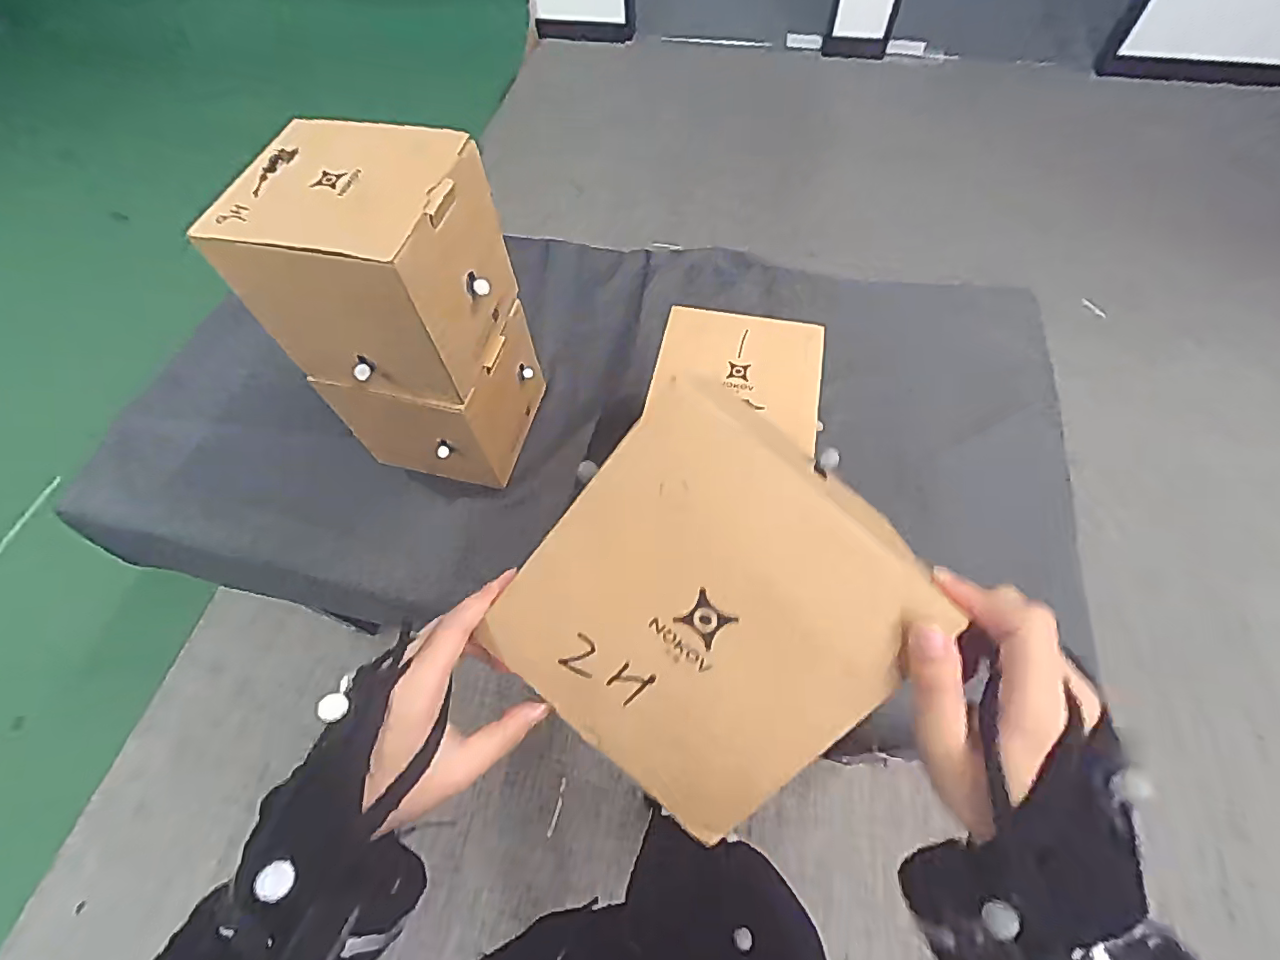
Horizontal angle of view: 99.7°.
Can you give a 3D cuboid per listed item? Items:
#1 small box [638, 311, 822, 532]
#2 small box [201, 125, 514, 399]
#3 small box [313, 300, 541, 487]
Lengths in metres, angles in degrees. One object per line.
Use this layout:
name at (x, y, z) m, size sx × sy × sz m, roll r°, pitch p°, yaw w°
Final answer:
small box at (0.098, -0.060, 0.613) m, size 0.168 × 0.176 × 0.179 m, roll 10°, pitch 61°, yaw 7°
small box at (-0.237, -0.197, 0.513) m, size 0.179 × 0.176 × 0.168 m, roll 10°, pitch 61°, yaw 7°
small box at (-0.234, -0.109, 0.652) m, size 0.179 × 0.176 × 0.168 m, roll 11°, pitch 60°, yaw 9°
